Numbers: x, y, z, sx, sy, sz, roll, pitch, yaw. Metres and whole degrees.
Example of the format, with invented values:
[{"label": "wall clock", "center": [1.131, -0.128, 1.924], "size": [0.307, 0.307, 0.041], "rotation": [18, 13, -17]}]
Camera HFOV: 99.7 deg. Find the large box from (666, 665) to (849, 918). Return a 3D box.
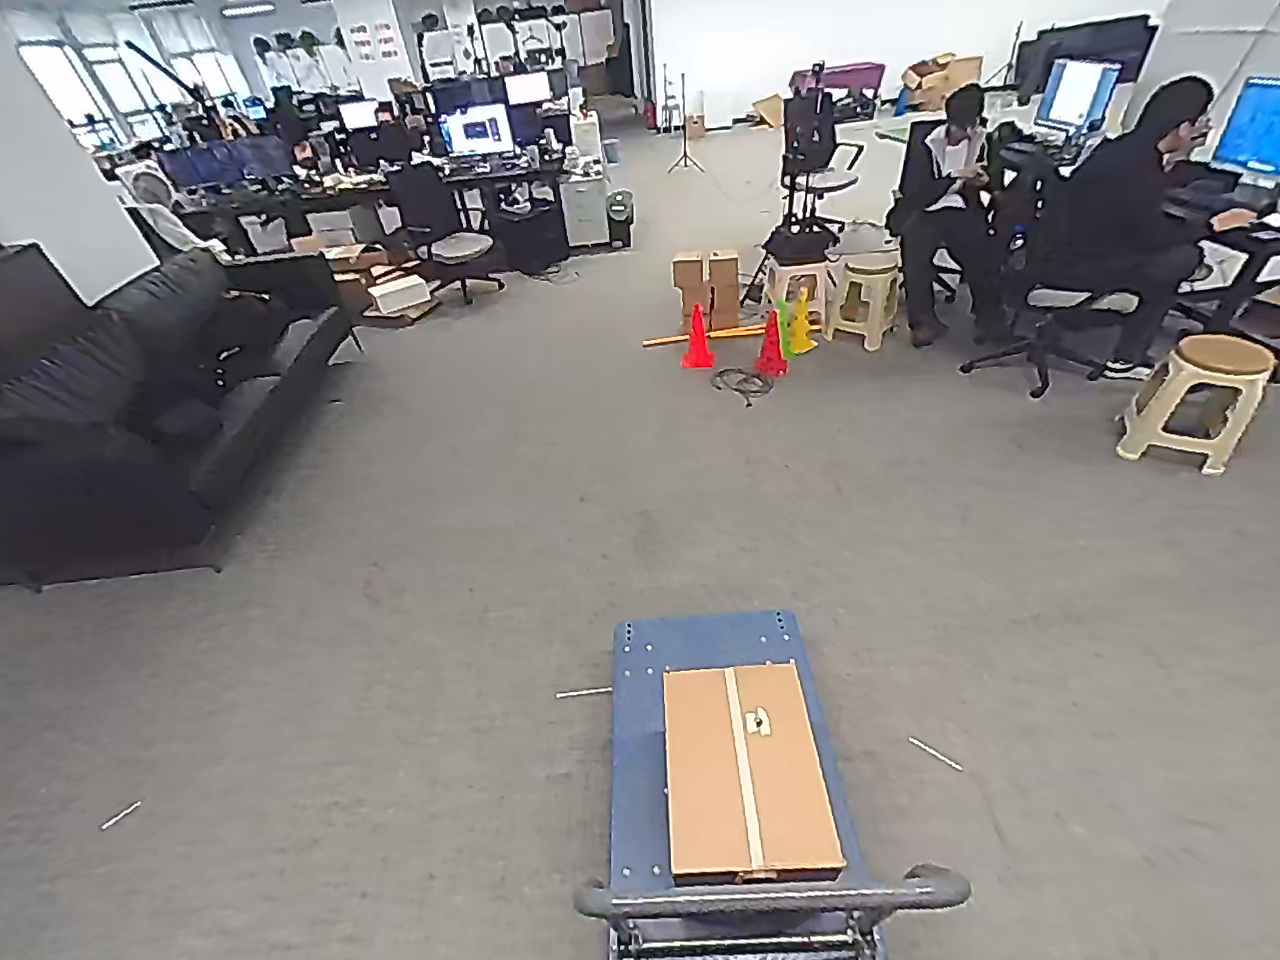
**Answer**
[{"label": "large box", "center": [0.233, 0.684, 1.206], "size": [0.320, 0.320, 0.408], "rotation": [-4, 39, 3]}]
